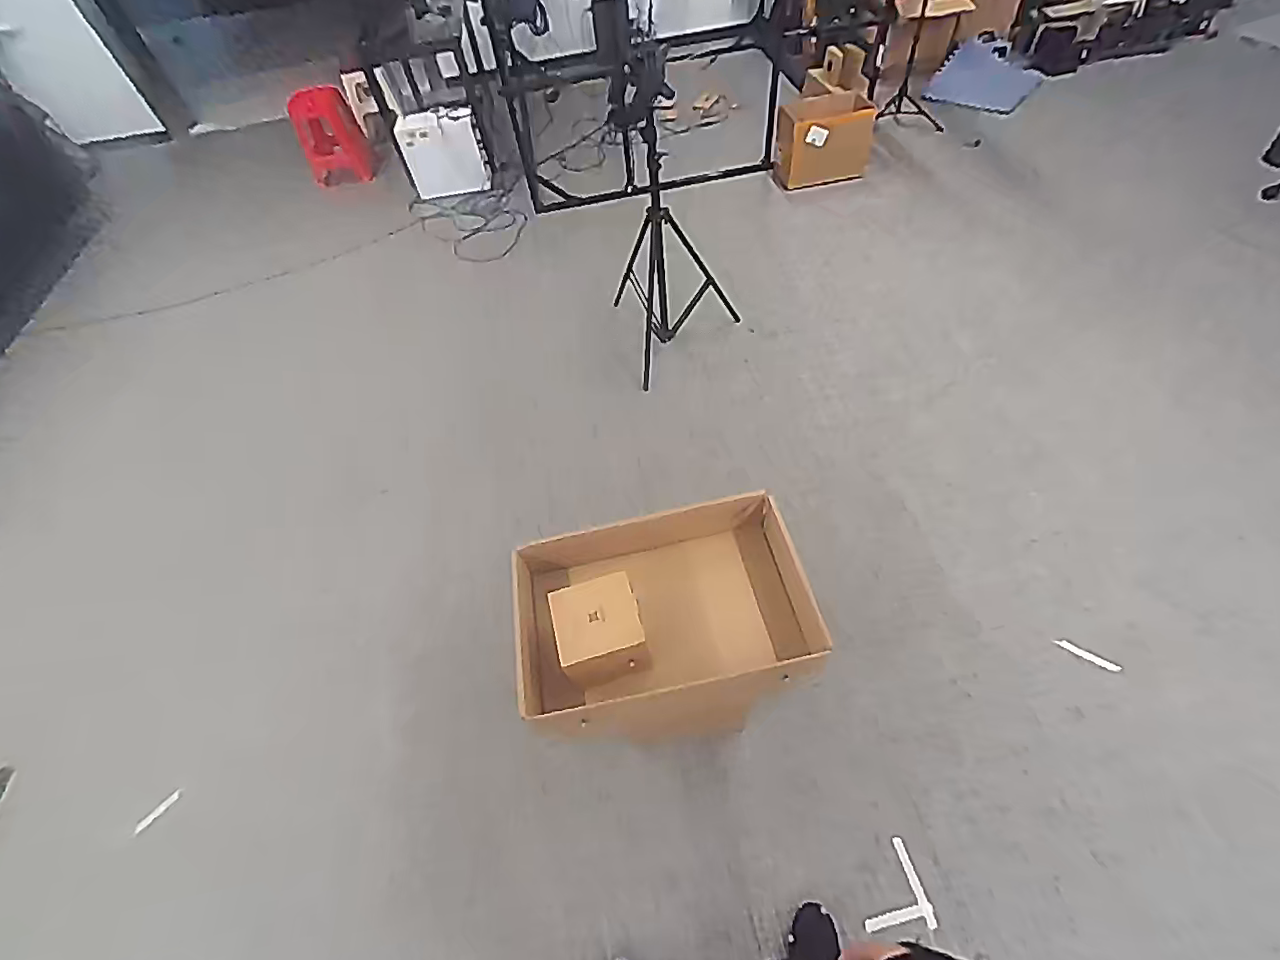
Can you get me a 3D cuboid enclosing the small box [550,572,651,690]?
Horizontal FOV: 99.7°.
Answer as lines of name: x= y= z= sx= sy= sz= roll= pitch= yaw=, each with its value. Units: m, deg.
small box: x=-0.079 y=0.326 z=1.155 sx=0.179 sy=0.176 sz=0.168 roll=-16 pitch=53 yaw=-3
